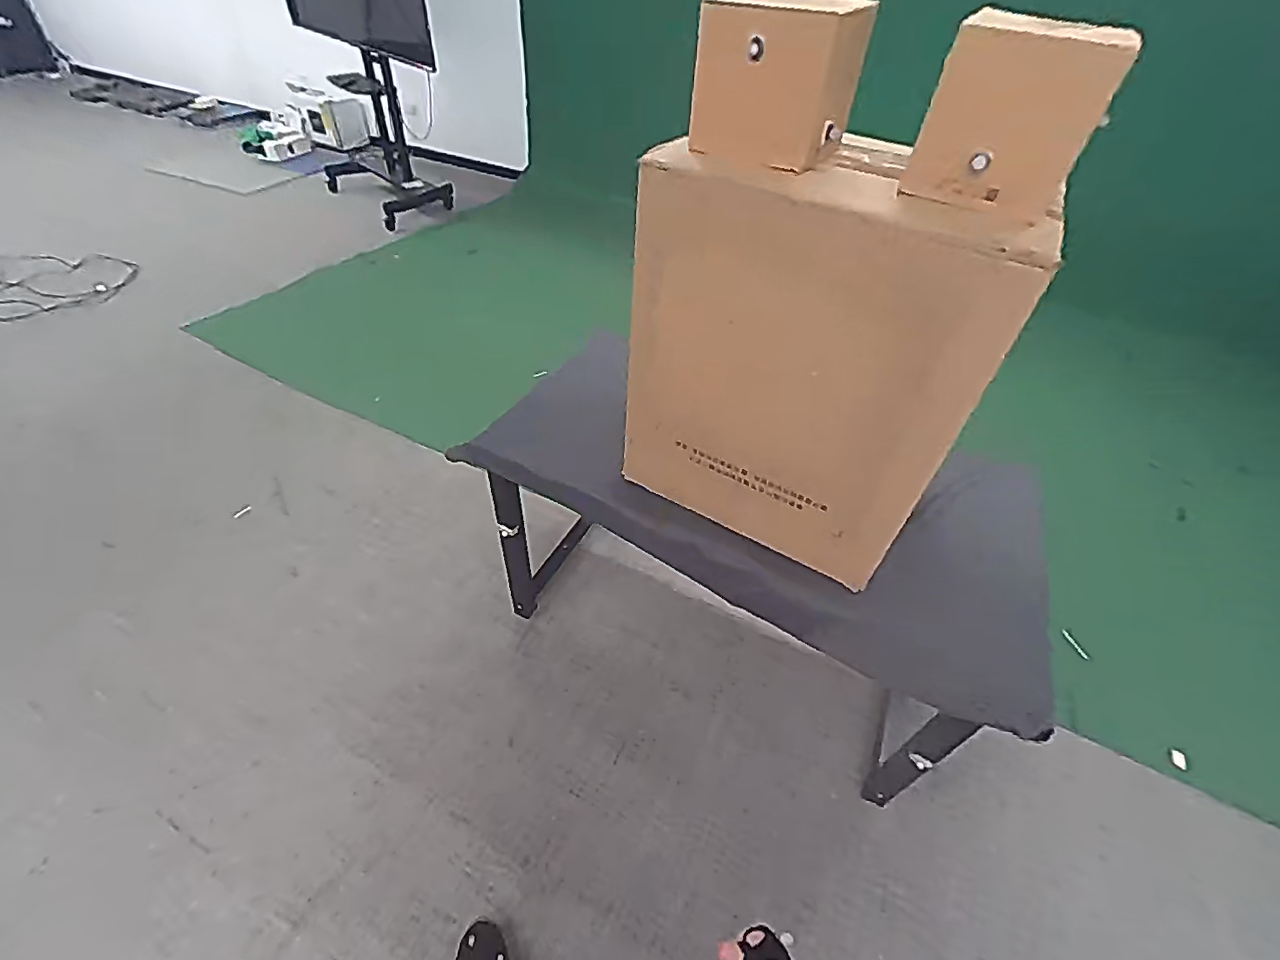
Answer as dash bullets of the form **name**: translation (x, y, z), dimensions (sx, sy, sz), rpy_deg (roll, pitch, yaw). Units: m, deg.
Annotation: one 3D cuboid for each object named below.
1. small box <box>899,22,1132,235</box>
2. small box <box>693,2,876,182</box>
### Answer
- **small box**: translation (0.441, -0.425, 0.654), dimensions (0.168, 0.176, 0.179), rpy_deg (27, 51, 18)
- **small box**: translation (0.187, -0.530, 0.741), dimensions (0.179, 0.176, 0.168), rpy_deg (26, 51, 19)
